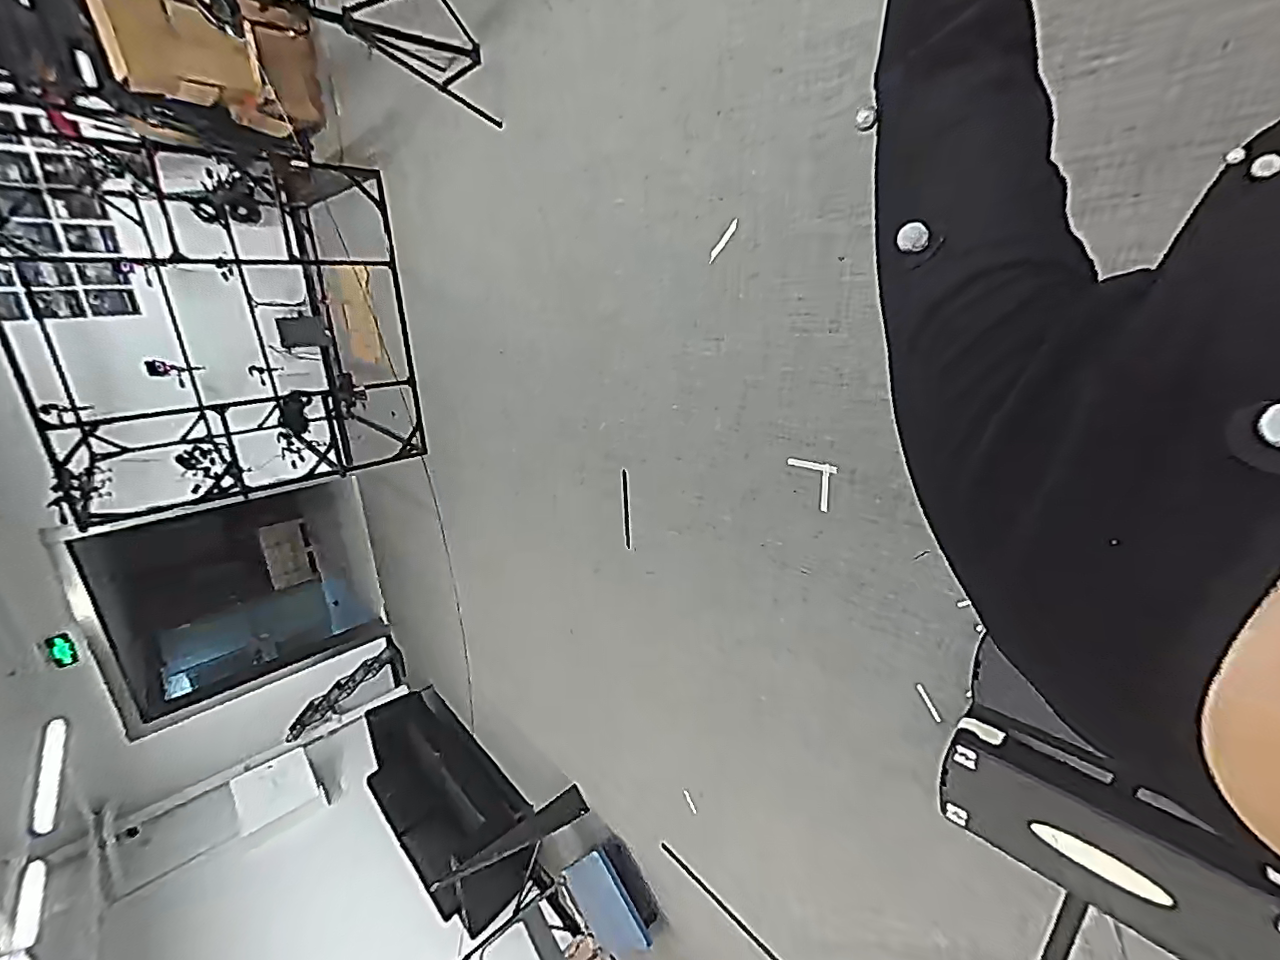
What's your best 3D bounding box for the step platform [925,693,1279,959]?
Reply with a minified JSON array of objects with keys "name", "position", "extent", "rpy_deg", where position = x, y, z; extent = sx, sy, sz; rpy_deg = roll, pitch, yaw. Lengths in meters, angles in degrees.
[{"name":"step platform","position":[1.075,0.818,1.307],"extent":[0.684,0.204,0.286],"rpy_deg":[18,117,47]}]
